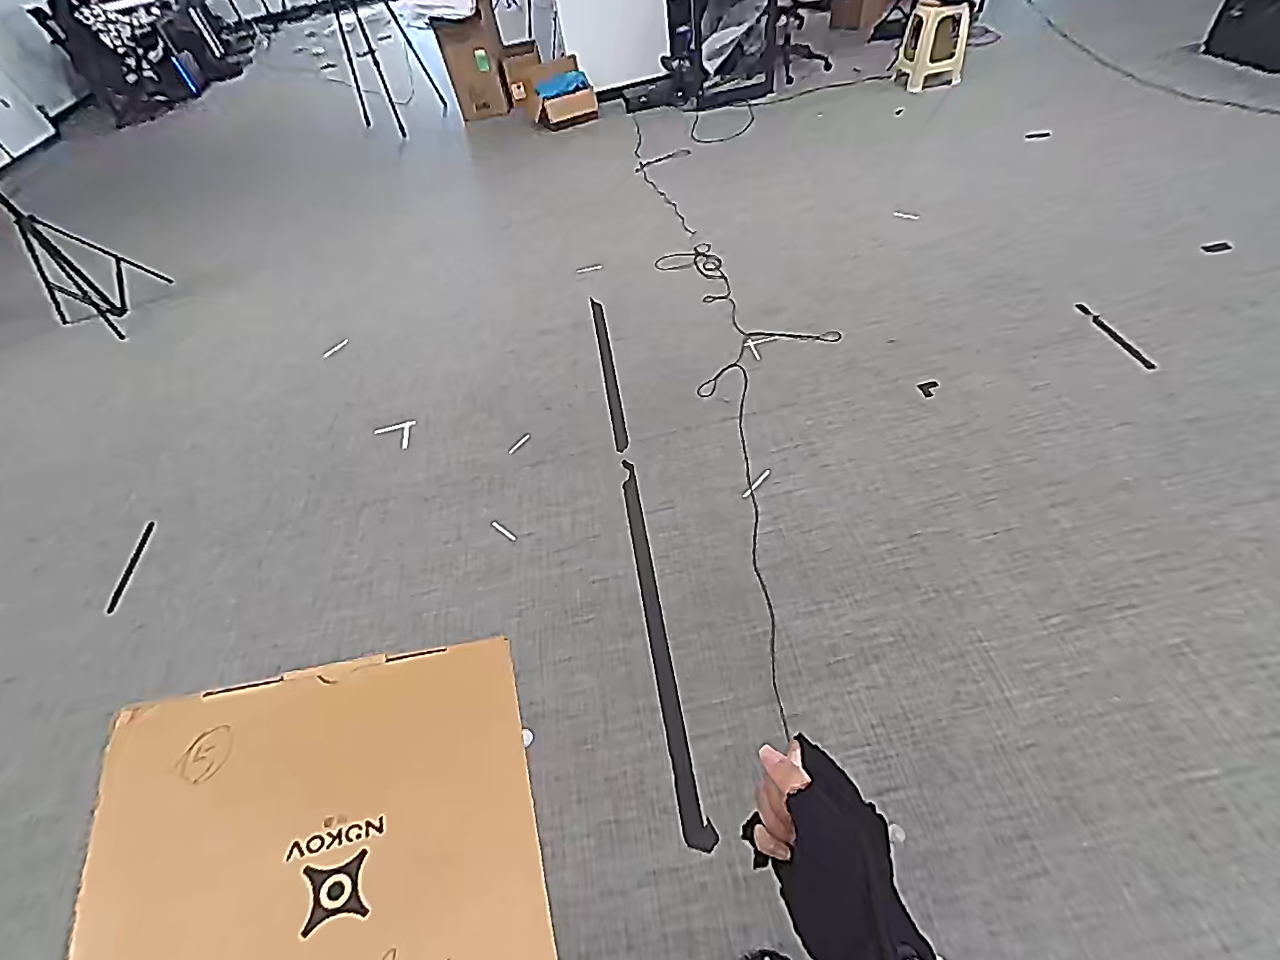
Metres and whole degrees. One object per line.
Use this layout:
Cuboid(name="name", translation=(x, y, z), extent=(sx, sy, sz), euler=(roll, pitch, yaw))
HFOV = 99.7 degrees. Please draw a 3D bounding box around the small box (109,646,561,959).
Cuboid(name="small box", translation=(-0.147, 0.214, 0.297), extent=(0.168, 0.176, 0.179), euler=(-4, 58, -22))
